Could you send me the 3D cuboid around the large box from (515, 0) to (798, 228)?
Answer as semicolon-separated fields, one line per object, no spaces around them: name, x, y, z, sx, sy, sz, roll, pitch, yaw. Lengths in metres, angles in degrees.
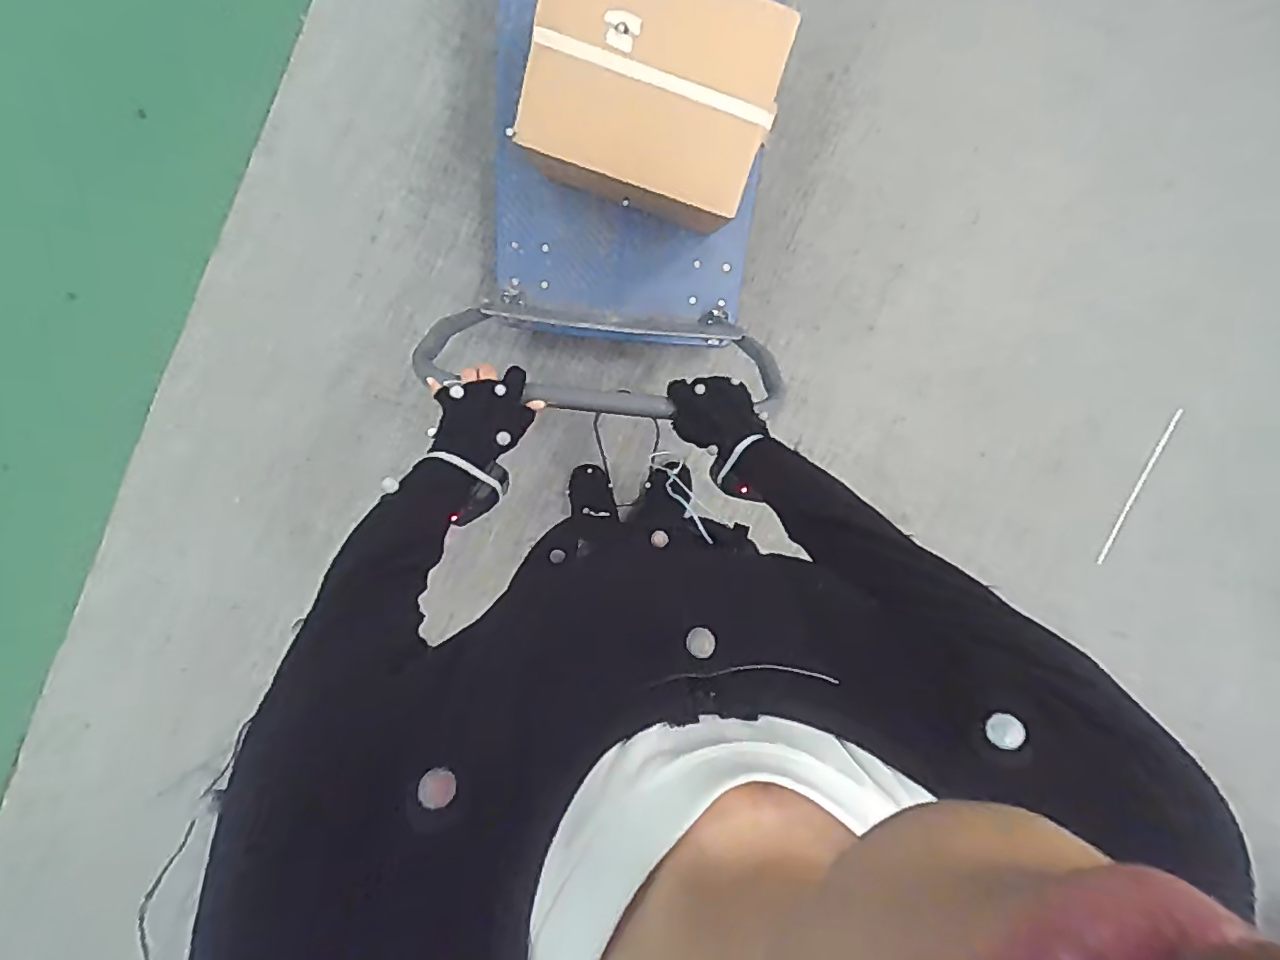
large box;0.023;-0.706;1.025;0.408;0.320;0.320;17;109;-5
